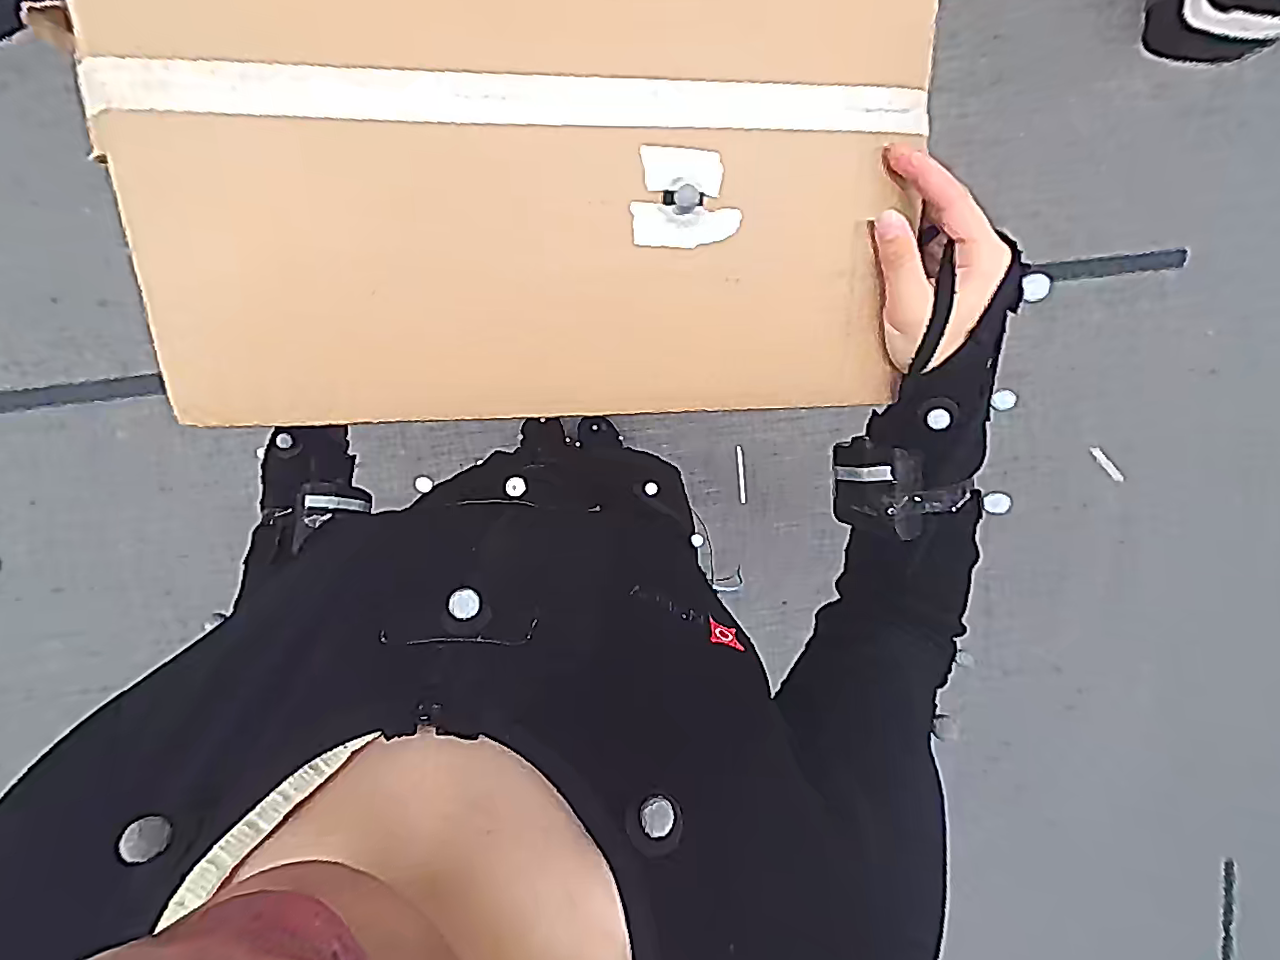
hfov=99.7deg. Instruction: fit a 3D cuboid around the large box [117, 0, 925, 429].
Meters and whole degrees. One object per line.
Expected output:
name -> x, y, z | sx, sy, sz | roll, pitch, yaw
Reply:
large box -> -0.065, -0.225, 0.425 | 0.408, 0.320, 0.320 | -3, 105, -8
